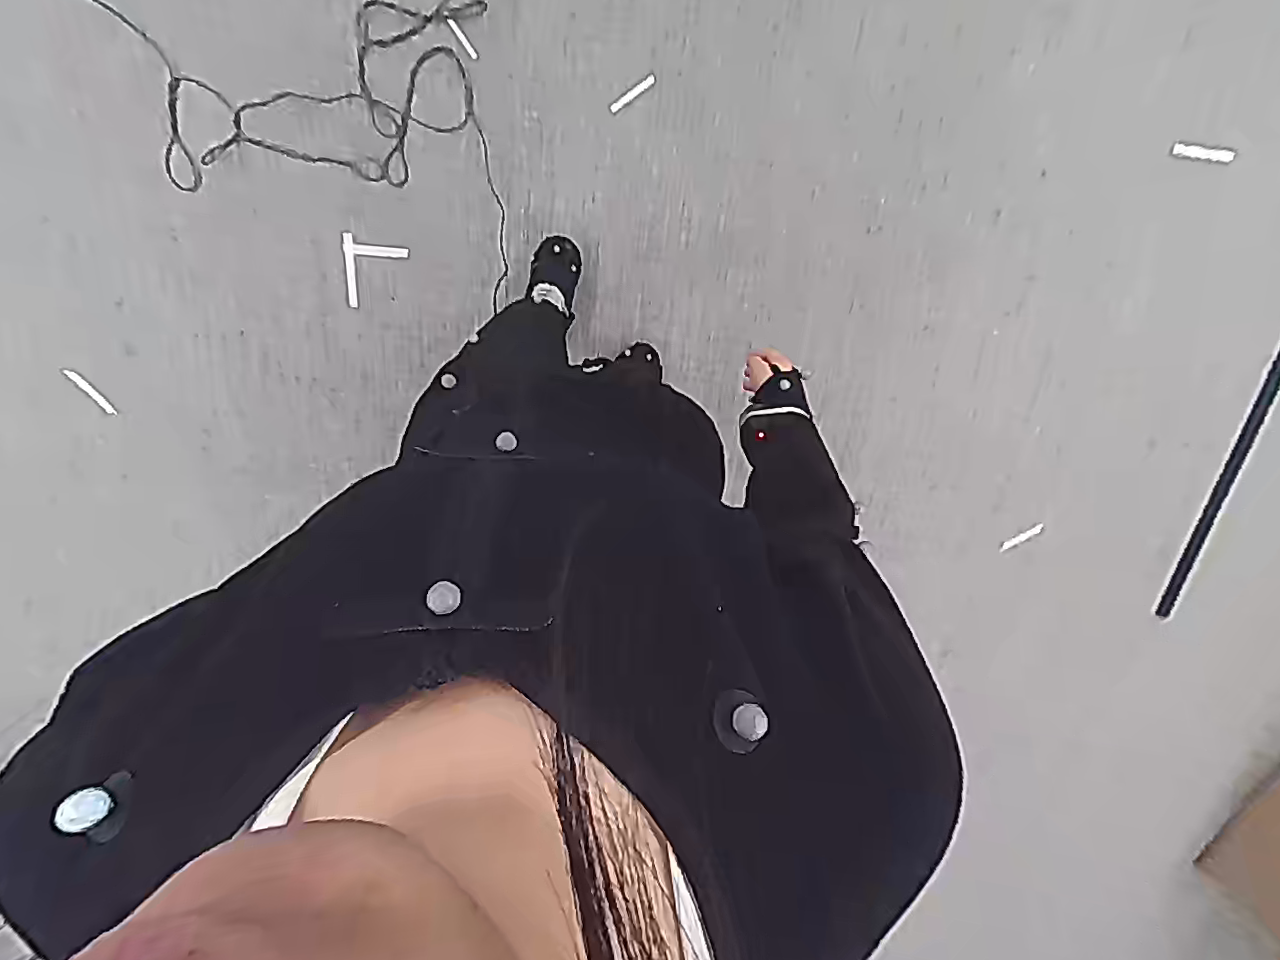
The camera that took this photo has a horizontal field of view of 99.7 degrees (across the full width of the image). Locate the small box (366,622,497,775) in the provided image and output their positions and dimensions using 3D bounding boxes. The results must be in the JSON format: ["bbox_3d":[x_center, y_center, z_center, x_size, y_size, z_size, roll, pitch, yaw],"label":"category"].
[{"bbox_3d":[-0.351,0.367,0.931,0.168,0.176,0.179,8,107,-3],"label":"small box"}]
